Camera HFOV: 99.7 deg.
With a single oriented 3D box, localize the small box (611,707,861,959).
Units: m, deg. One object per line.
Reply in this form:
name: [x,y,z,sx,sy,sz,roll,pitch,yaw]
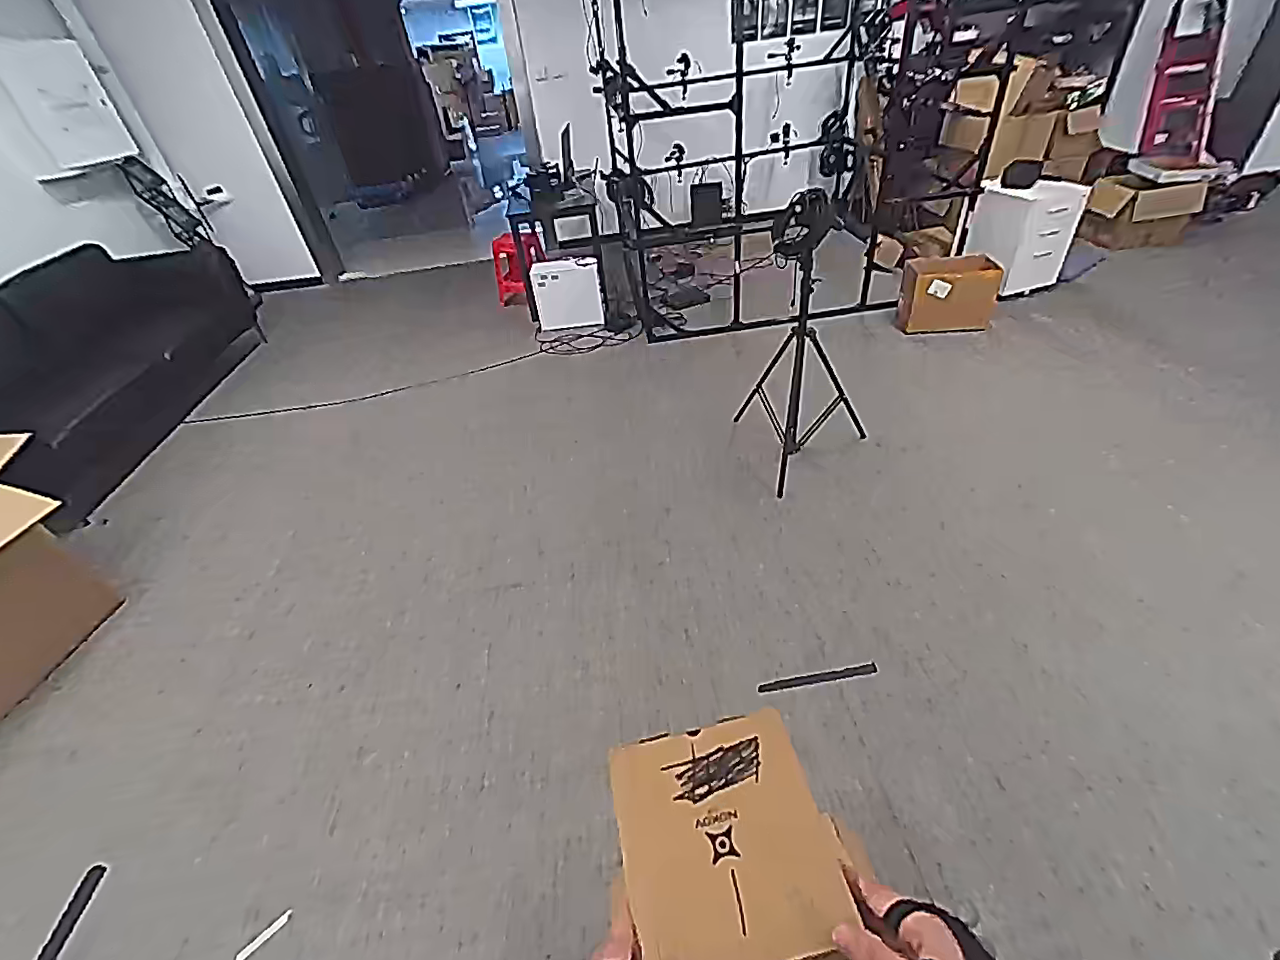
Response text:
small box: [0.074,0.345,0.498,0.168,0.176,0.179,-13,43,-4]
